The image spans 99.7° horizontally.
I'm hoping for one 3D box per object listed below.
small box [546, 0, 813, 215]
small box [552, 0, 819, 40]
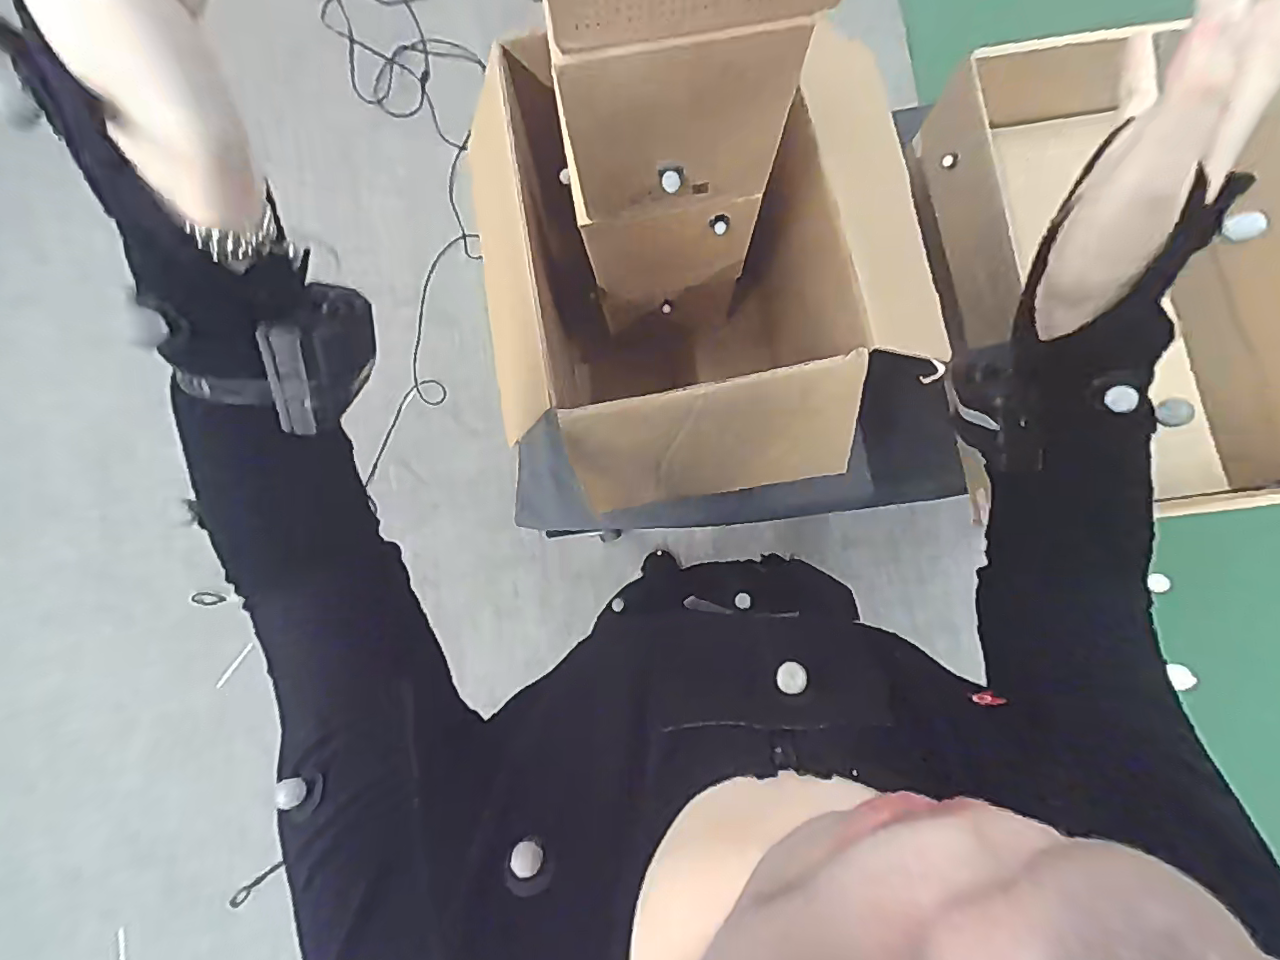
[{"bbox_3d":[0.018,-0.344,0.422,0.168,0.176,0.179,-8,85,1],"label":"small box"},{"bbox_3d":[0.022,-0.360,0.259,0.179,0.176,0.168,-8,85,2],"label":"small box"}]
